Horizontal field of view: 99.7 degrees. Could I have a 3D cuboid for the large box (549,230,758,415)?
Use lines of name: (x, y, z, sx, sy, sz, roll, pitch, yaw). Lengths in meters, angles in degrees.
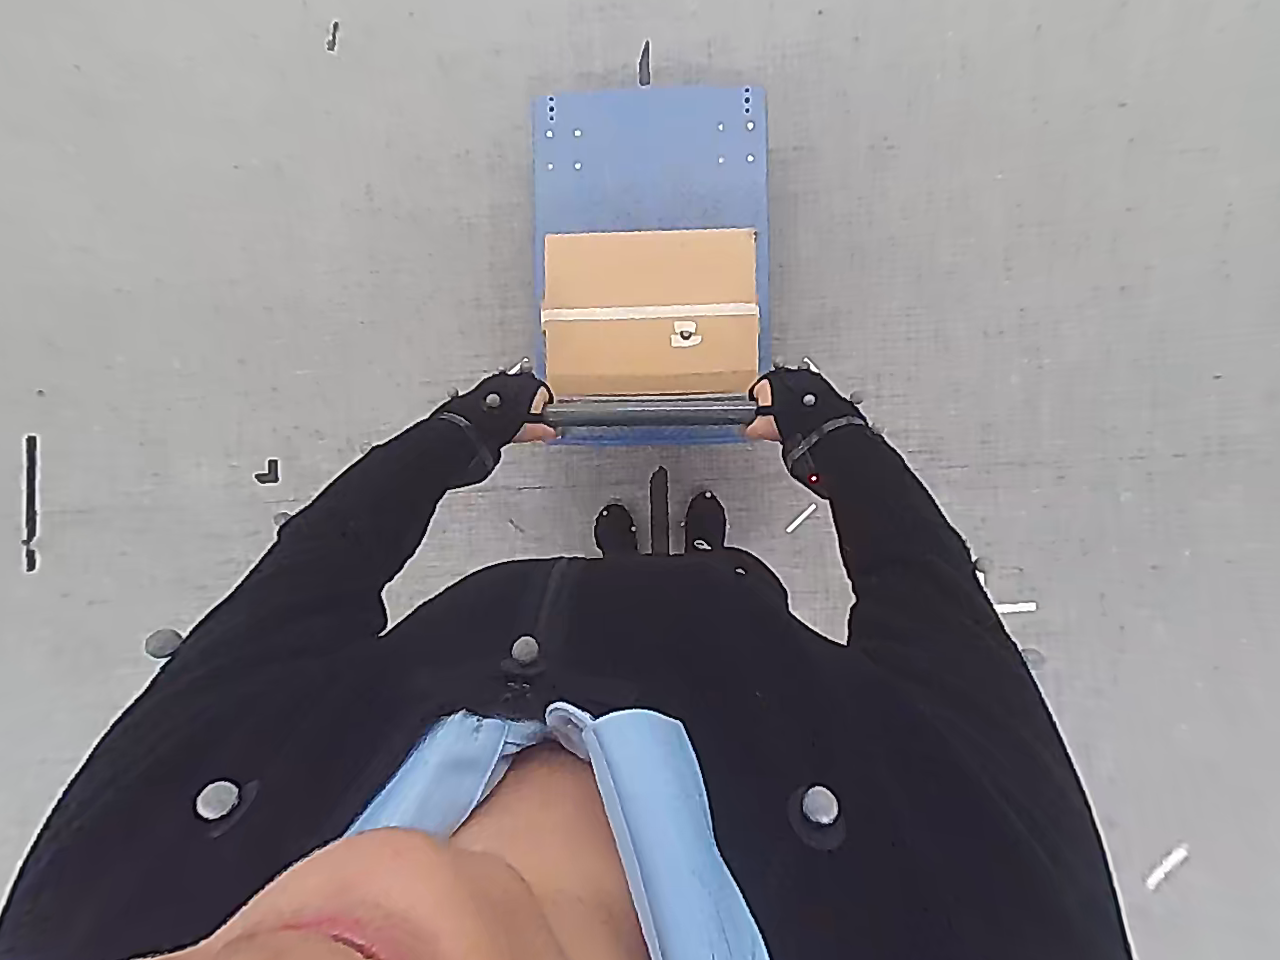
large box: (0.027, -0.323, 1.193, 0.408, 0.320, 0.320, -1, 90, 1)
